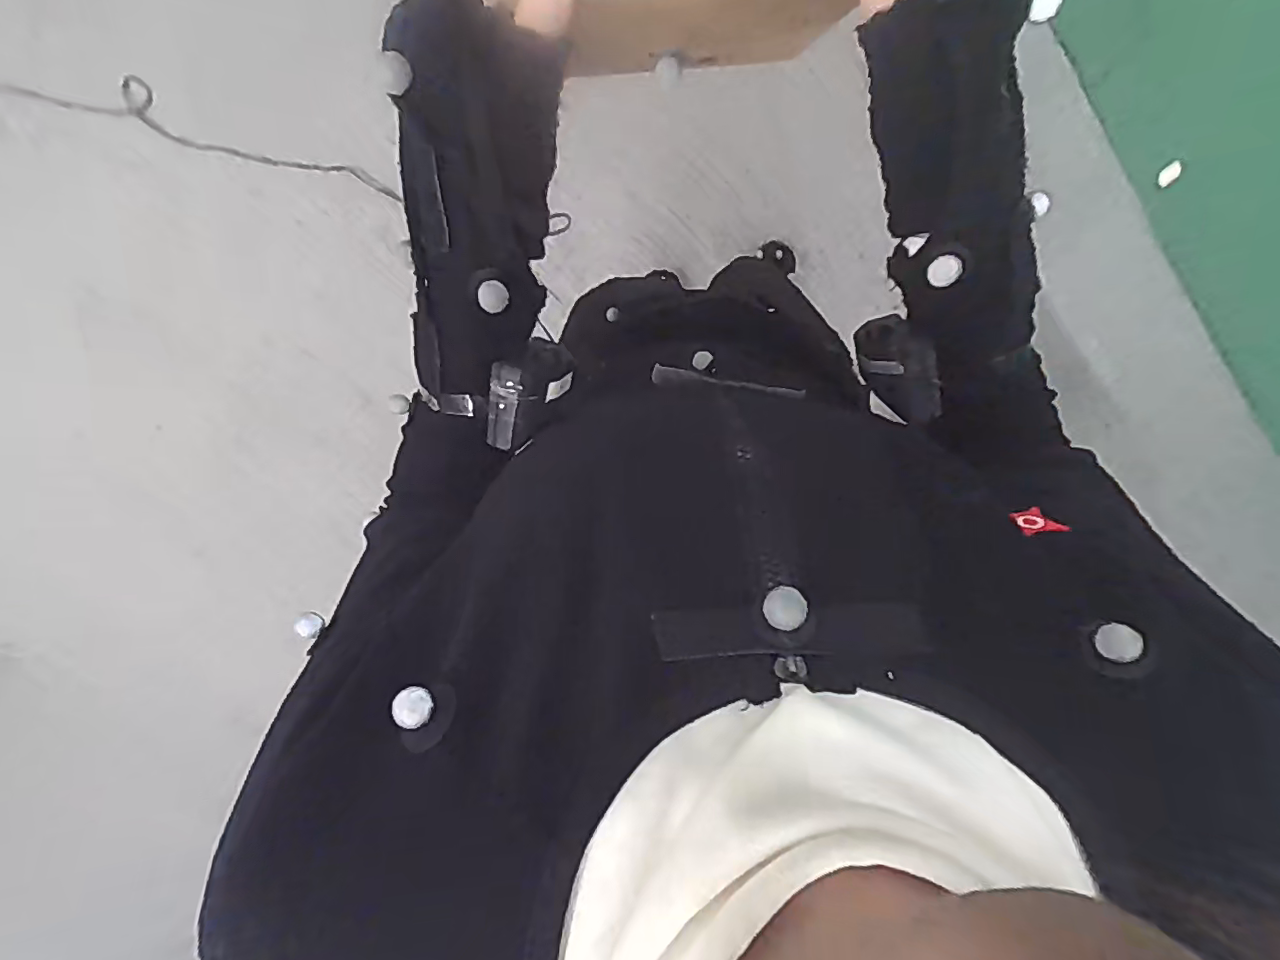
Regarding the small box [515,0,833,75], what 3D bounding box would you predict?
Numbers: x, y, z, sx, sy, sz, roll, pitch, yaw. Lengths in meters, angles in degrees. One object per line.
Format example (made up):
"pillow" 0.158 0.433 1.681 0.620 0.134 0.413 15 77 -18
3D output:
"small box" 0.011 -0.314 0.244 0.168 0.176 0.179 -5 117 1
